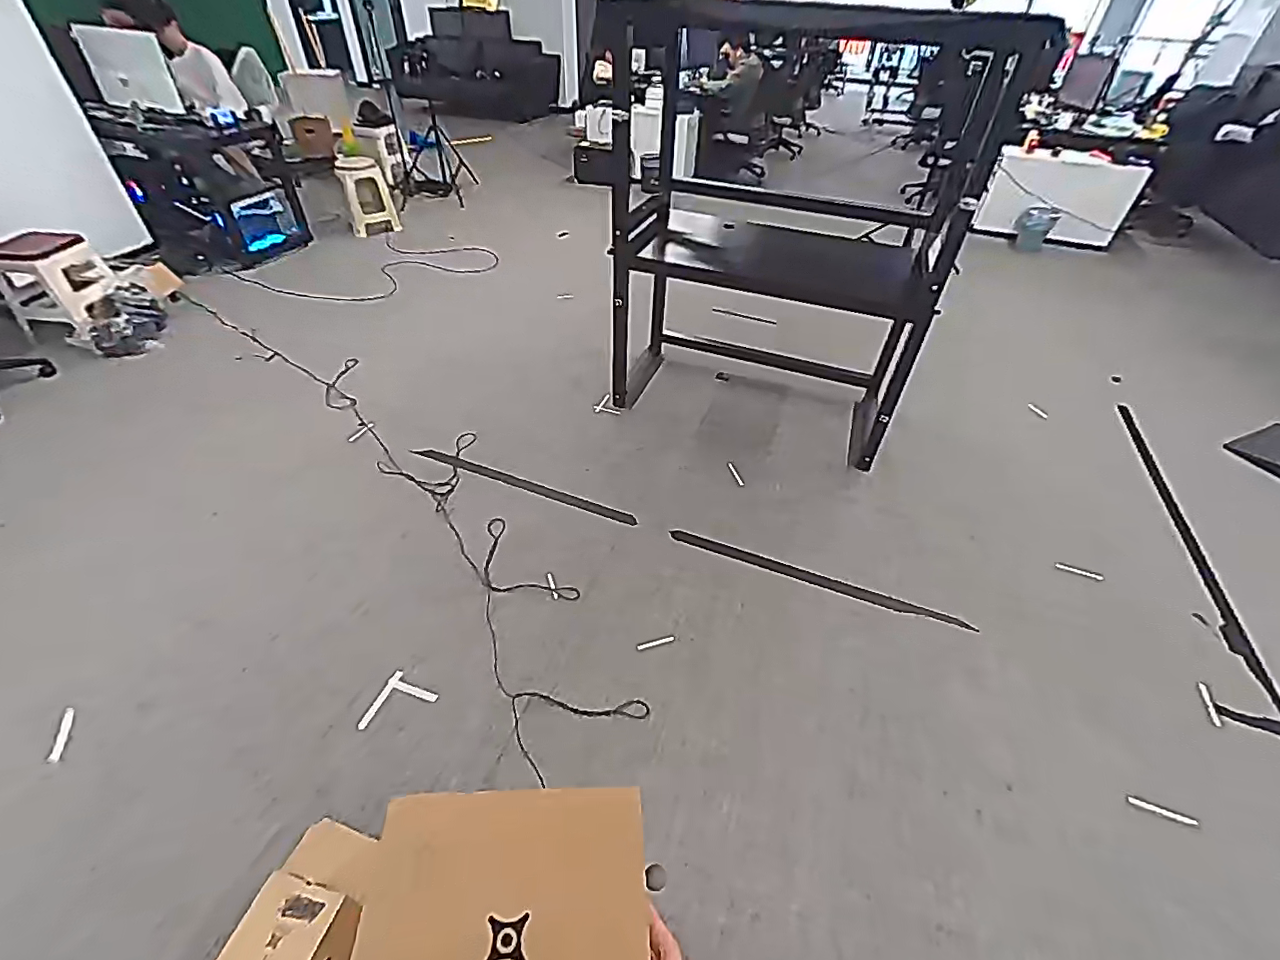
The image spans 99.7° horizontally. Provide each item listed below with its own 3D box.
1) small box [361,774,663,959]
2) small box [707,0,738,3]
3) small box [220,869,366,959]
[{"bbox_3d":[-0.076,0.317,0.350,0.168,0.176,0.179,1,41,-5],"label":"small box"},{"bbox_3d":[0.208,-1.491,1.552,0.168,0.176,0.179,16,43,12],"label":"small box"},{"bbox_3d":[-0.668,0.905,1.055,0.168,0.176,0.179,12,44,10],"label":"small box"}]
